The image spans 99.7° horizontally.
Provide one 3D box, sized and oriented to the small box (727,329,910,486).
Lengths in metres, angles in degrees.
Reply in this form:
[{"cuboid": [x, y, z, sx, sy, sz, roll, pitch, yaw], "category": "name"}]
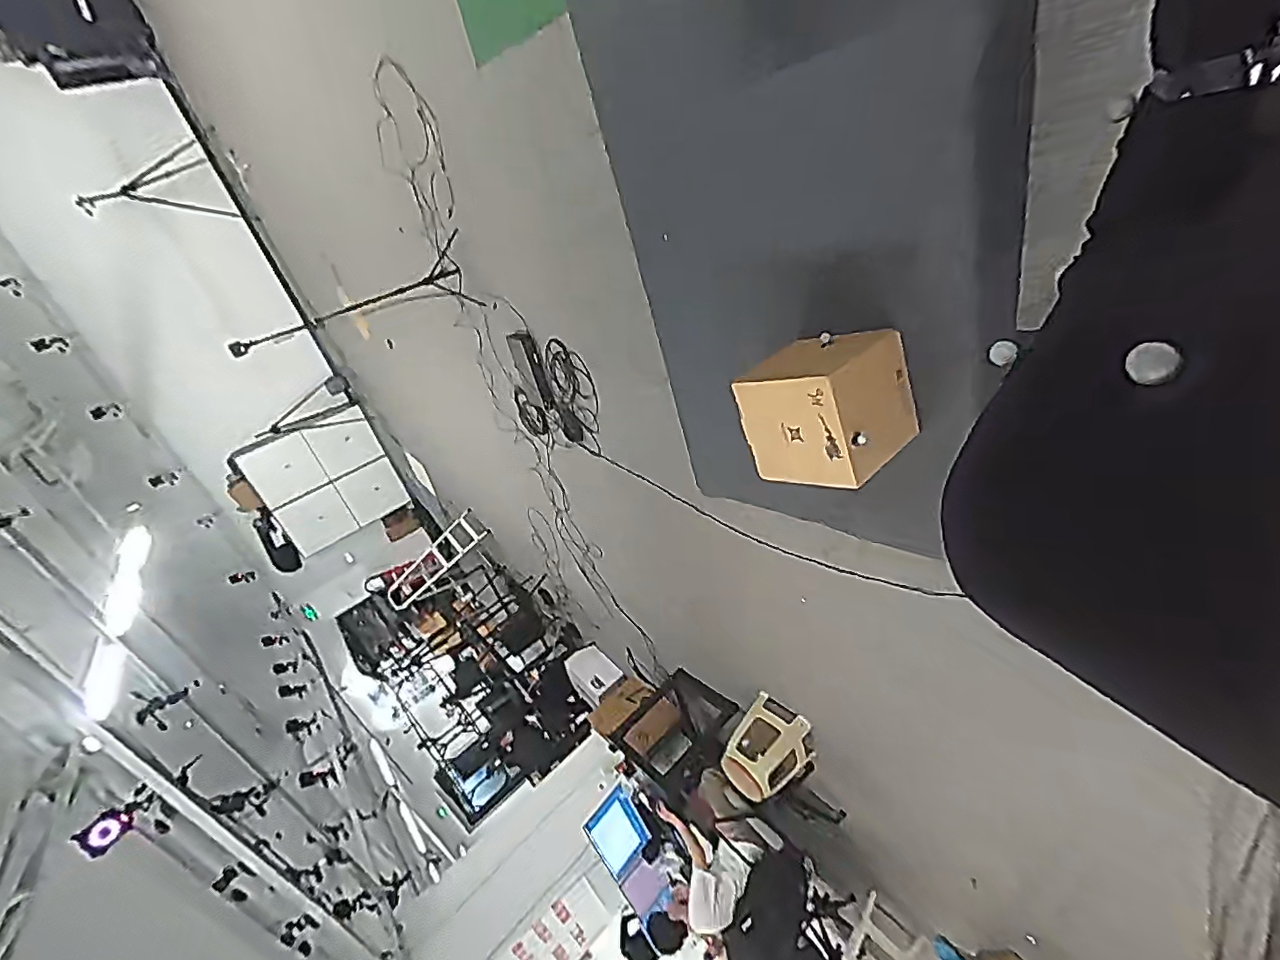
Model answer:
[{"cuboid": [0.267, -0.111, 0.807, 0.179, 0.176, 0.168, 10, 129, 55], "category": "small box"}]
